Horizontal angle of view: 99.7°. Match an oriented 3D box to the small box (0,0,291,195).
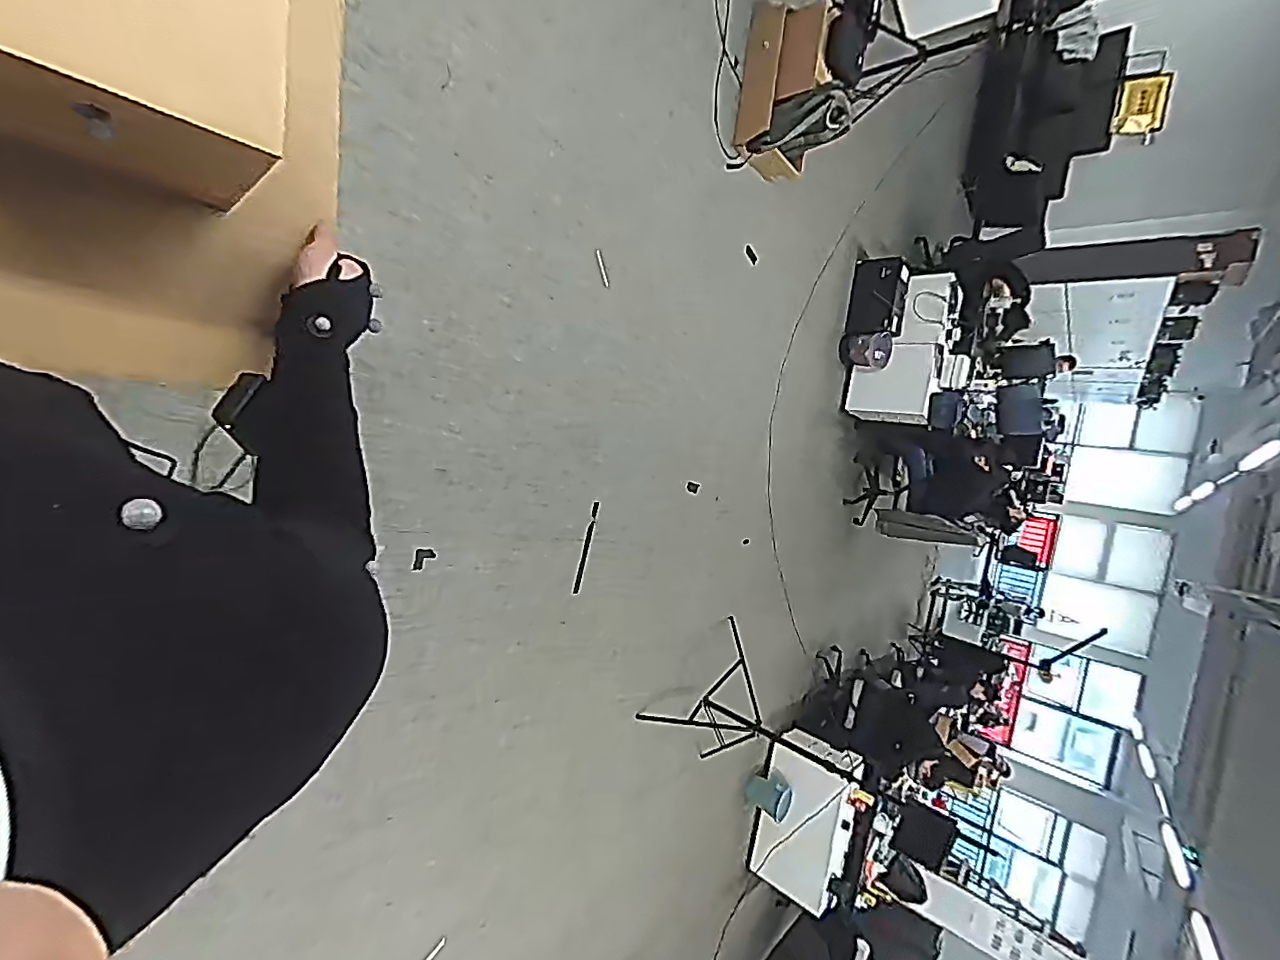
[{"bbox_3d":[-0.378,-0.331,0.392,0.179,0.176,0.168,0,96,-47],"label":"small box"}]
